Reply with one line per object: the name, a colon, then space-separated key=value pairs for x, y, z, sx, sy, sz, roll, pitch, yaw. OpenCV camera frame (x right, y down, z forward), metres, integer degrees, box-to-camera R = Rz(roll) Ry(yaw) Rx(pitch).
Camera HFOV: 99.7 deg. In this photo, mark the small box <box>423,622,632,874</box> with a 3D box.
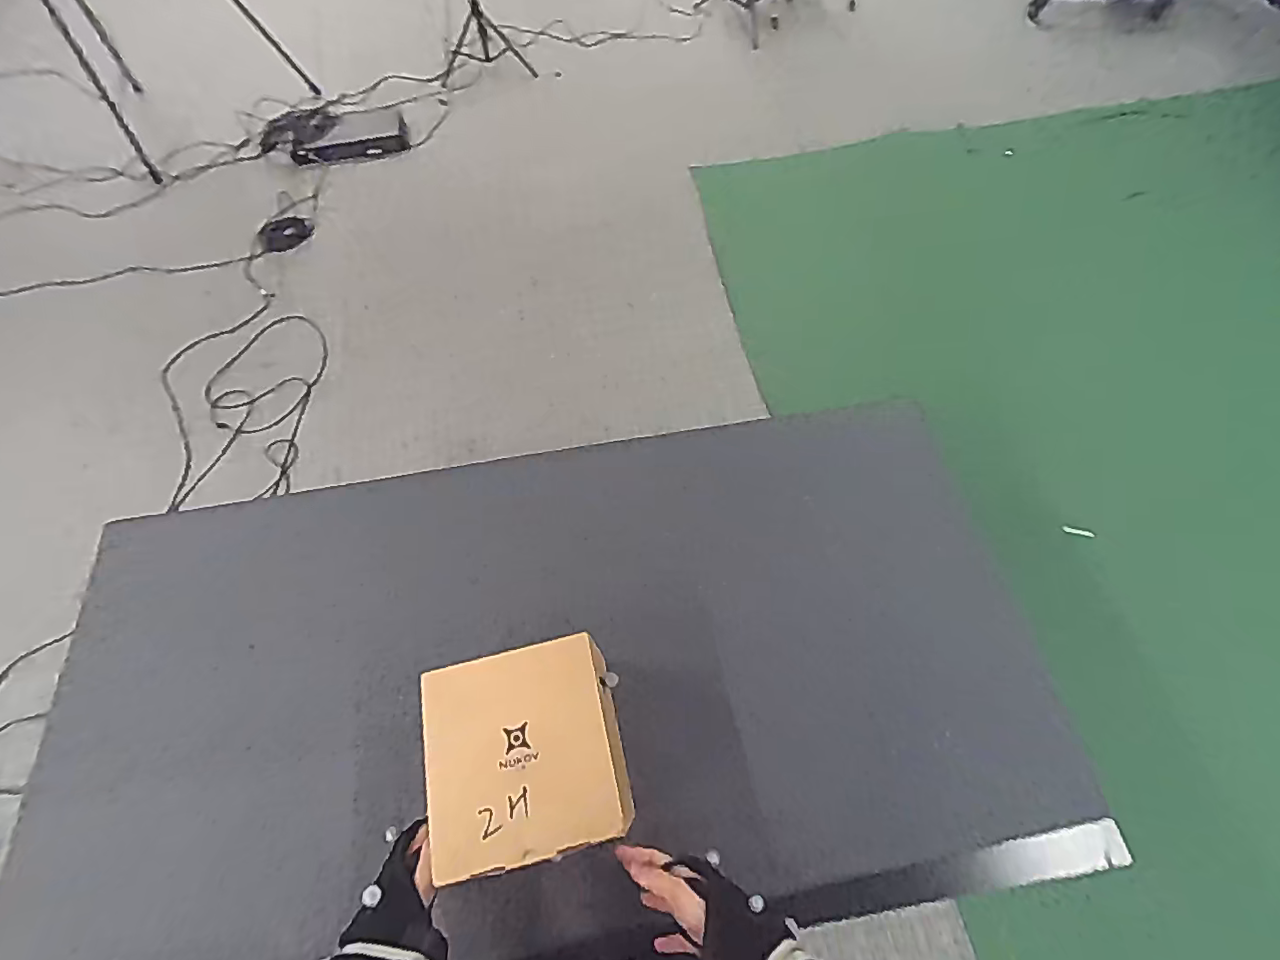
small box: x=-0.107 y=0.267 z=0.549 sx=0.168 sy=0.176 sz=0.179 roll=-13 pitch=62 yaw=-4
